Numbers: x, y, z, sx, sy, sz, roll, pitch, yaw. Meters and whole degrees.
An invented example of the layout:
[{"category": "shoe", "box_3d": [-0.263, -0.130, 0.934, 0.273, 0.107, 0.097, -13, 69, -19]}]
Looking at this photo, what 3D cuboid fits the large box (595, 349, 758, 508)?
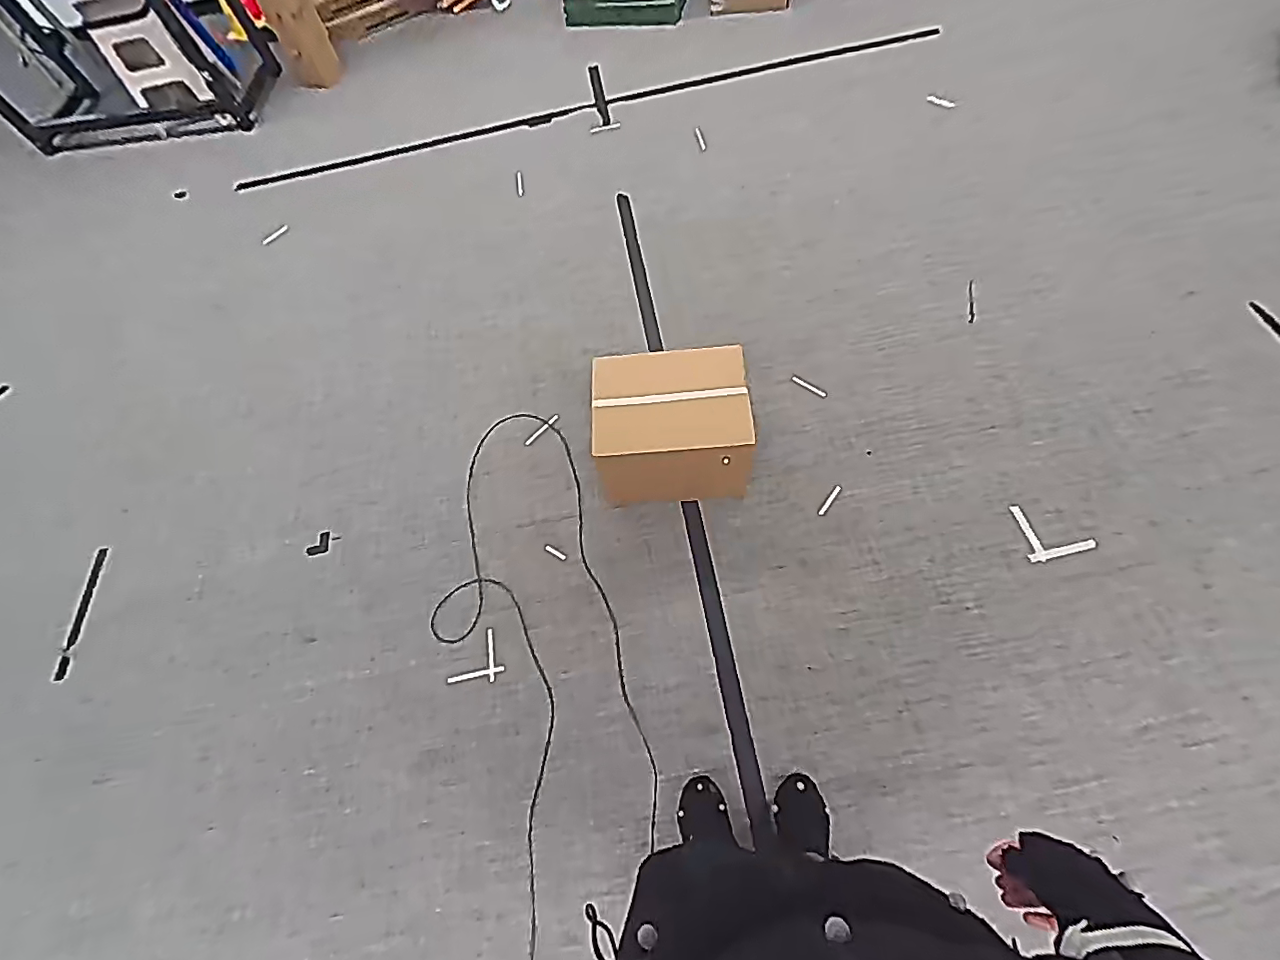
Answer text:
[{"category": "large box", "box_3d": [0.098, -0.131, 1.520, 0.408, 0.320, 0.320, -5, 63, 4]}]
